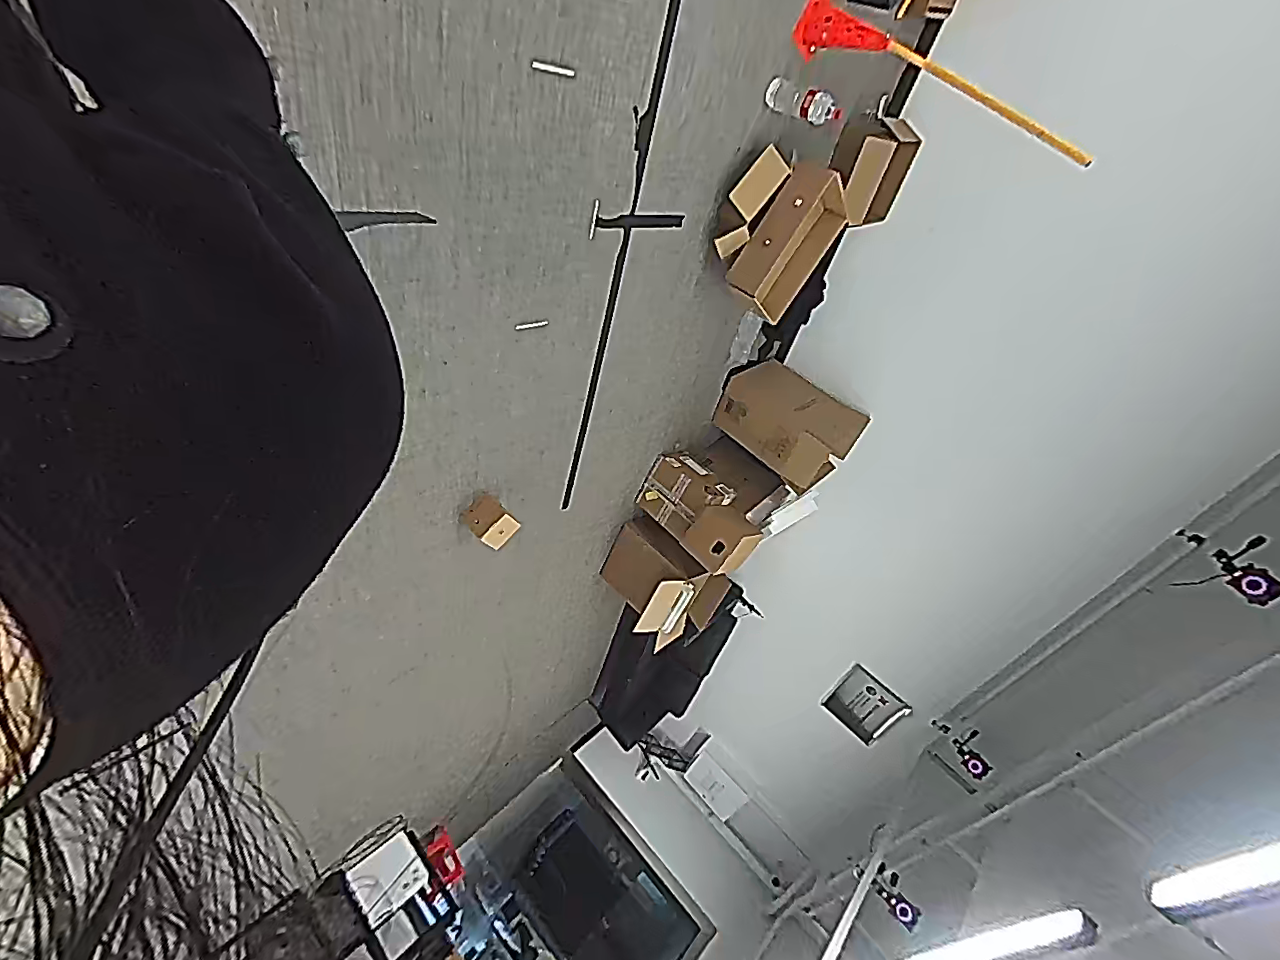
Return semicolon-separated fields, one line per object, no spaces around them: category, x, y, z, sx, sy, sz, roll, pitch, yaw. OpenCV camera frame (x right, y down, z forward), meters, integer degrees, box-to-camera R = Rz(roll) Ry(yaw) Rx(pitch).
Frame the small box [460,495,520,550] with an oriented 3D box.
small box;-0.698;0.195;2.502;0.168;0.176;0.179;-46;156;-8
